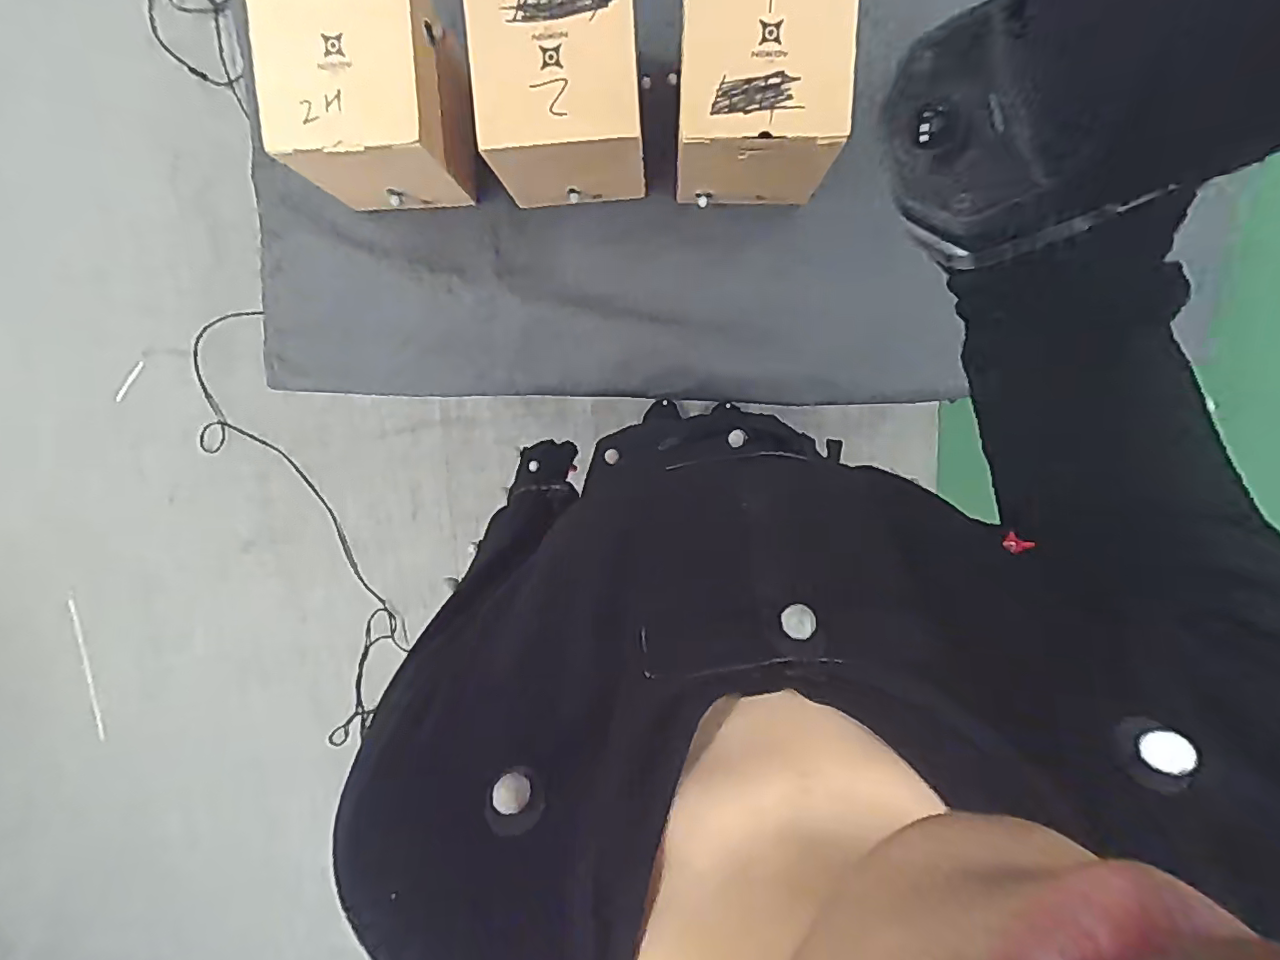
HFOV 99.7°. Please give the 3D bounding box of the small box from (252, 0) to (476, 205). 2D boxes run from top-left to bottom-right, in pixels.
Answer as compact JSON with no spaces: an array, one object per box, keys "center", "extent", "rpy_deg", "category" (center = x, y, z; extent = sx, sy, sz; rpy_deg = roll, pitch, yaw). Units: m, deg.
[{"center":[-0.297,-0.436,0.615],"extent":[0.168,0.176,0.179],"rpy_deg":[-1,98,3],"category":"small box"}]
